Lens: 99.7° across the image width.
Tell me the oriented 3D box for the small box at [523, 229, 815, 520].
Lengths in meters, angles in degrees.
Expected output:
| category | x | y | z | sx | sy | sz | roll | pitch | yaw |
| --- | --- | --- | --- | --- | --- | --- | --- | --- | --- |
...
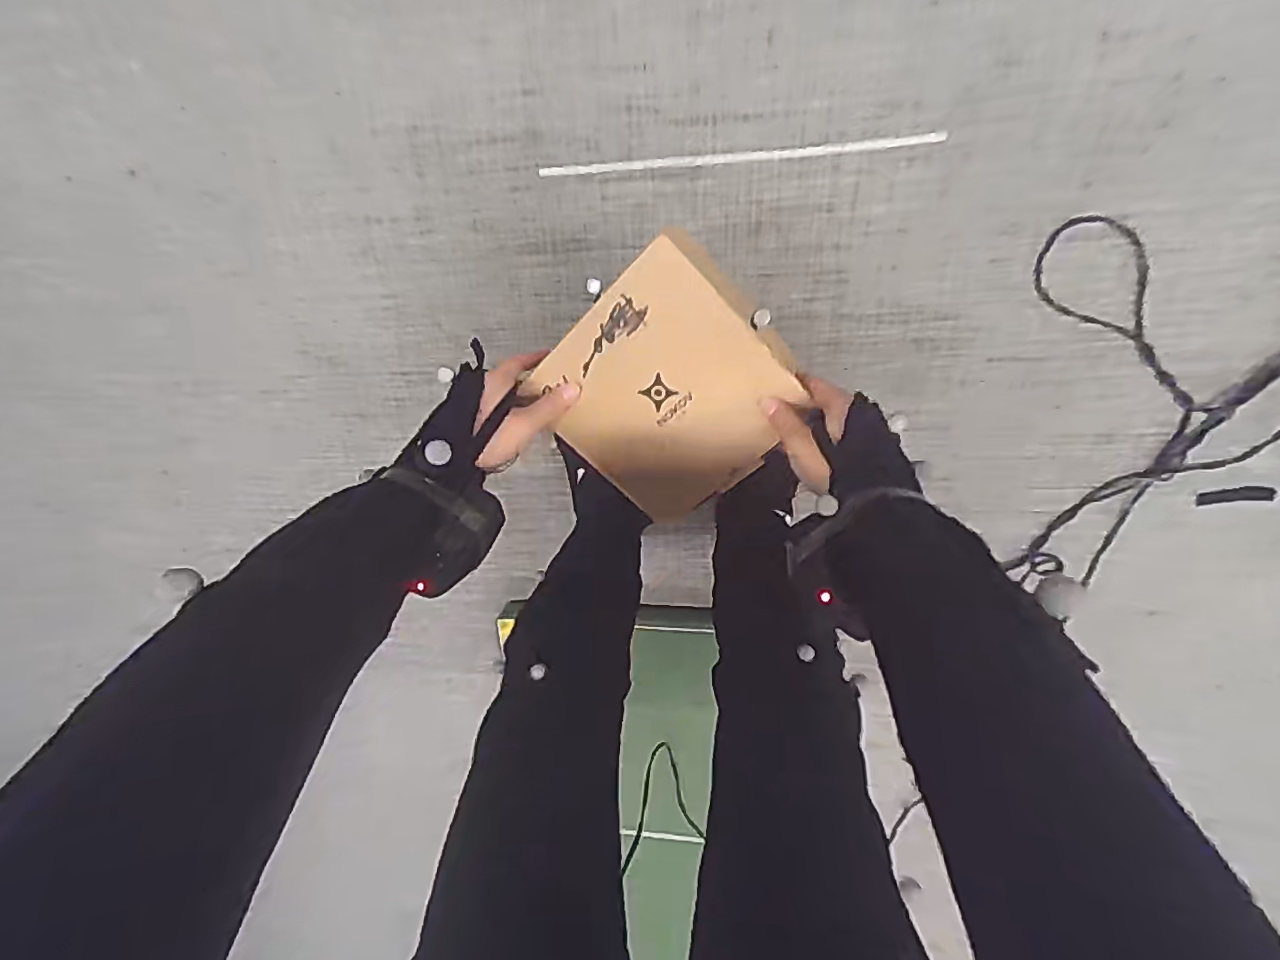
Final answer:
| category | x | y | z | sx | sy | sz | roll | pitch | yaw |
| --- | --- | --- | --- | --- | --- | --- | --- | --- | --- |
| small box | 0.029 | -0.104 | 0.494 | 0.179 | 0.176 | 0.168 | 43 | 114 | -16 |
